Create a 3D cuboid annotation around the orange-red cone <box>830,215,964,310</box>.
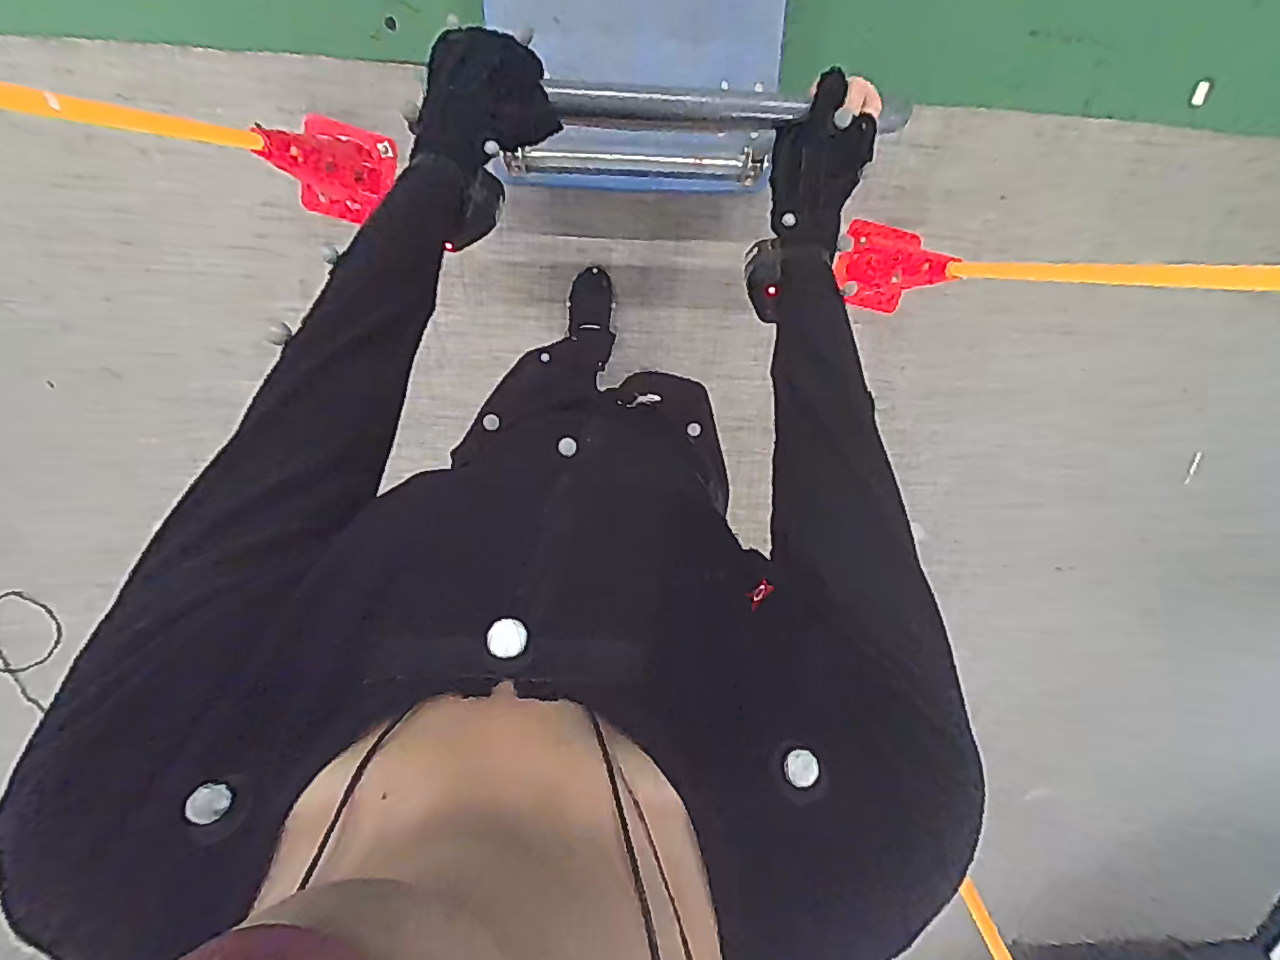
[{"bbox_3d":[0.611,-0.486,1.221,0.198,0.360,0.199,12,112,-8],"label":"orange-red cone"}]
